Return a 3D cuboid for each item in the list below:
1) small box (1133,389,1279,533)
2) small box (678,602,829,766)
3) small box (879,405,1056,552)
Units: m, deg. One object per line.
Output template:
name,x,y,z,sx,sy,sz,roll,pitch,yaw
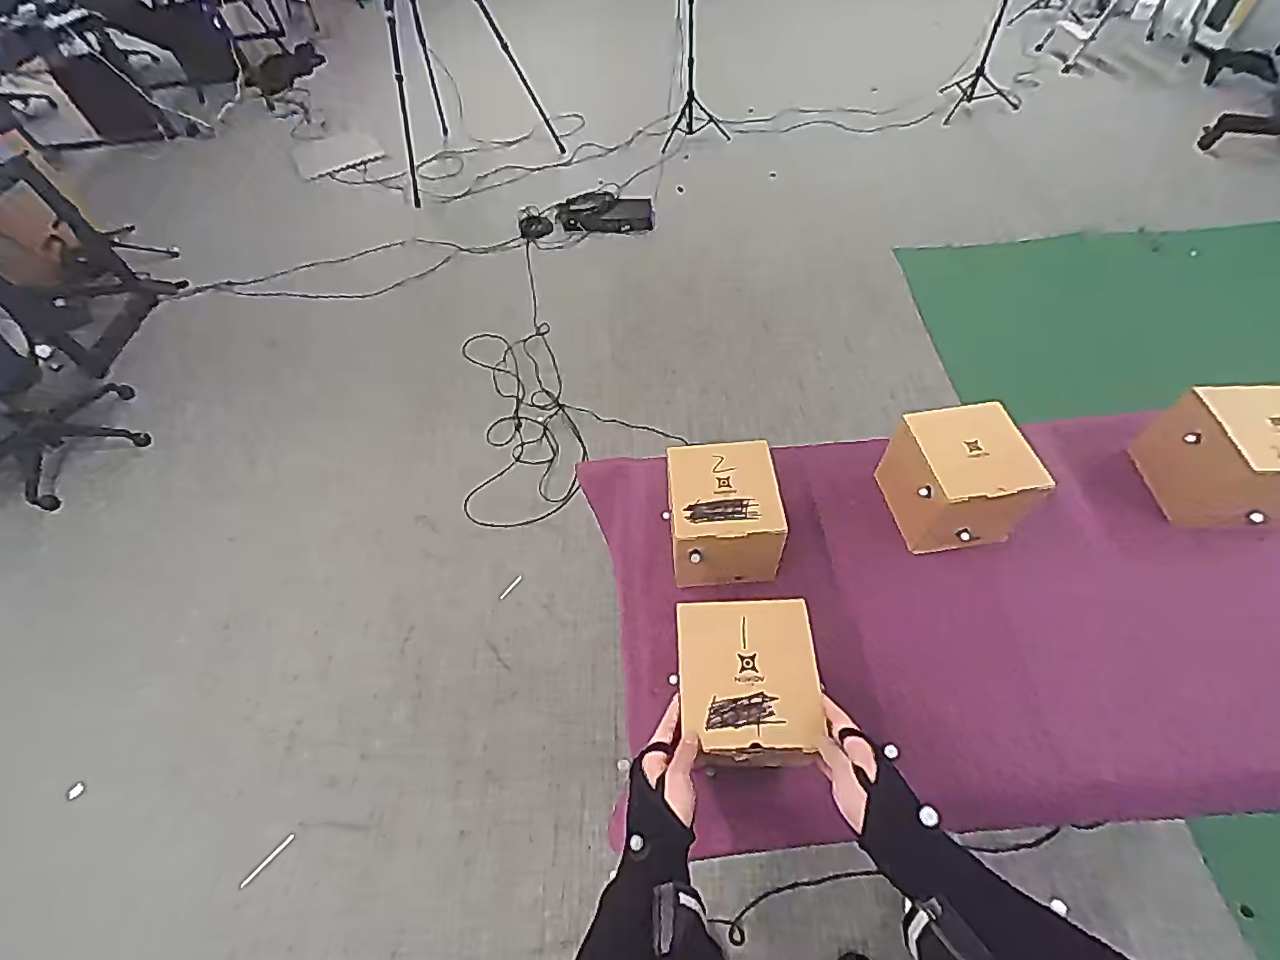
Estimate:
small box,0.981,-0.031,0.891,0.168,0.176,0.179,0,55,6
small box,0.138,0.274,0.714,0.168,0.176,0.179,-3,56,4
small box,0.530,0.000,0.910,0.168,0.176,0.179,-8,56,-1
